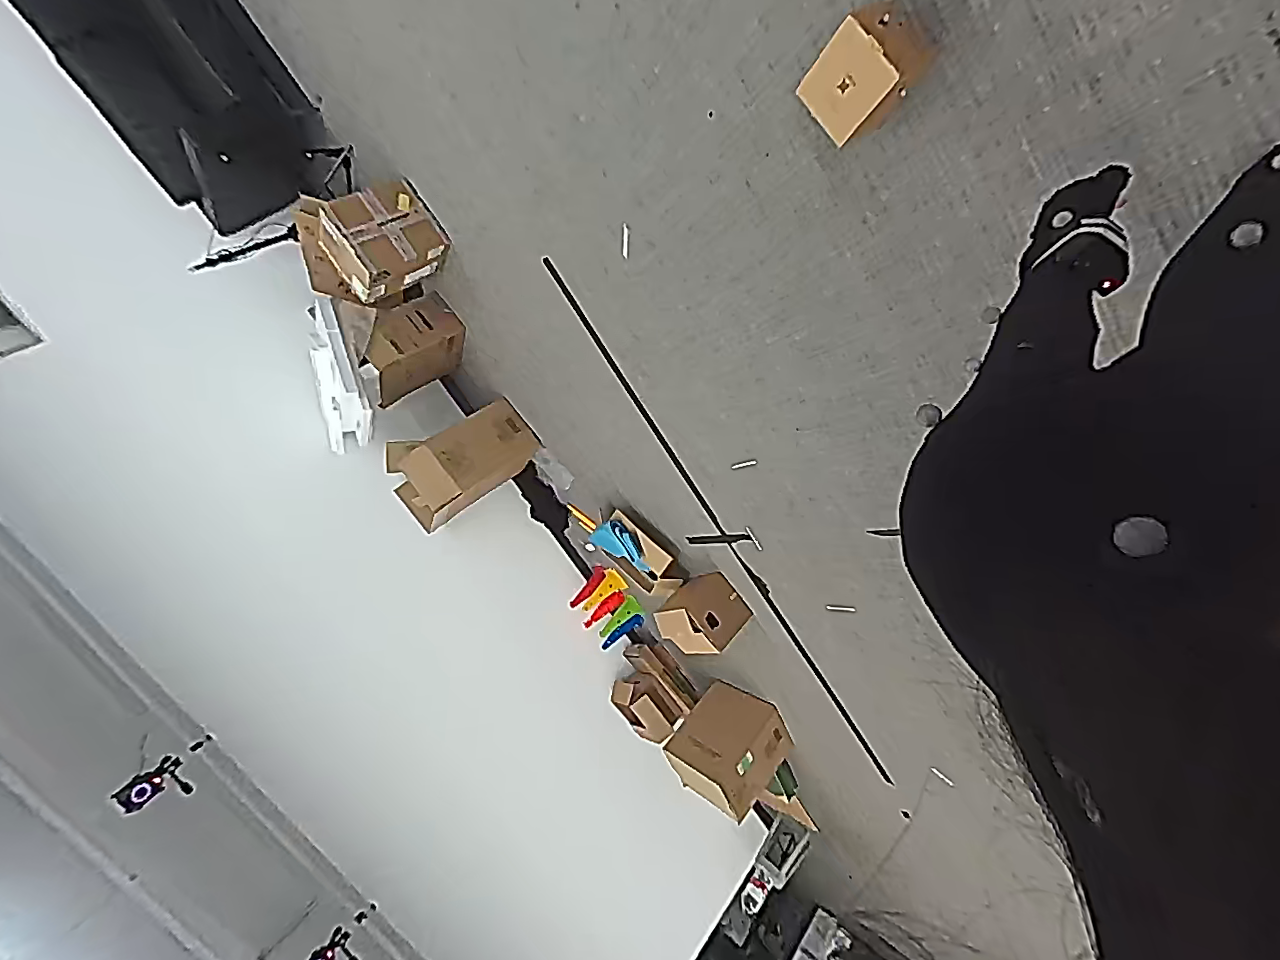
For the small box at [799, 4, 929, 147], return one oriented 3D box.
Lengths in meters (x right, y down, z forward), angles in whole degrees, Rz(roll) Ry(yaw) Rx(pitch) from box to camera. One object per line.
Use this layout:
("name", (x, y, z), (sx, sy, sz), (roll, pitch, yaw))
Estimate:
("small box", (0.488, -0.873, 1.165), (0.168, 0.176, 0.179), (51, 152, 0))
